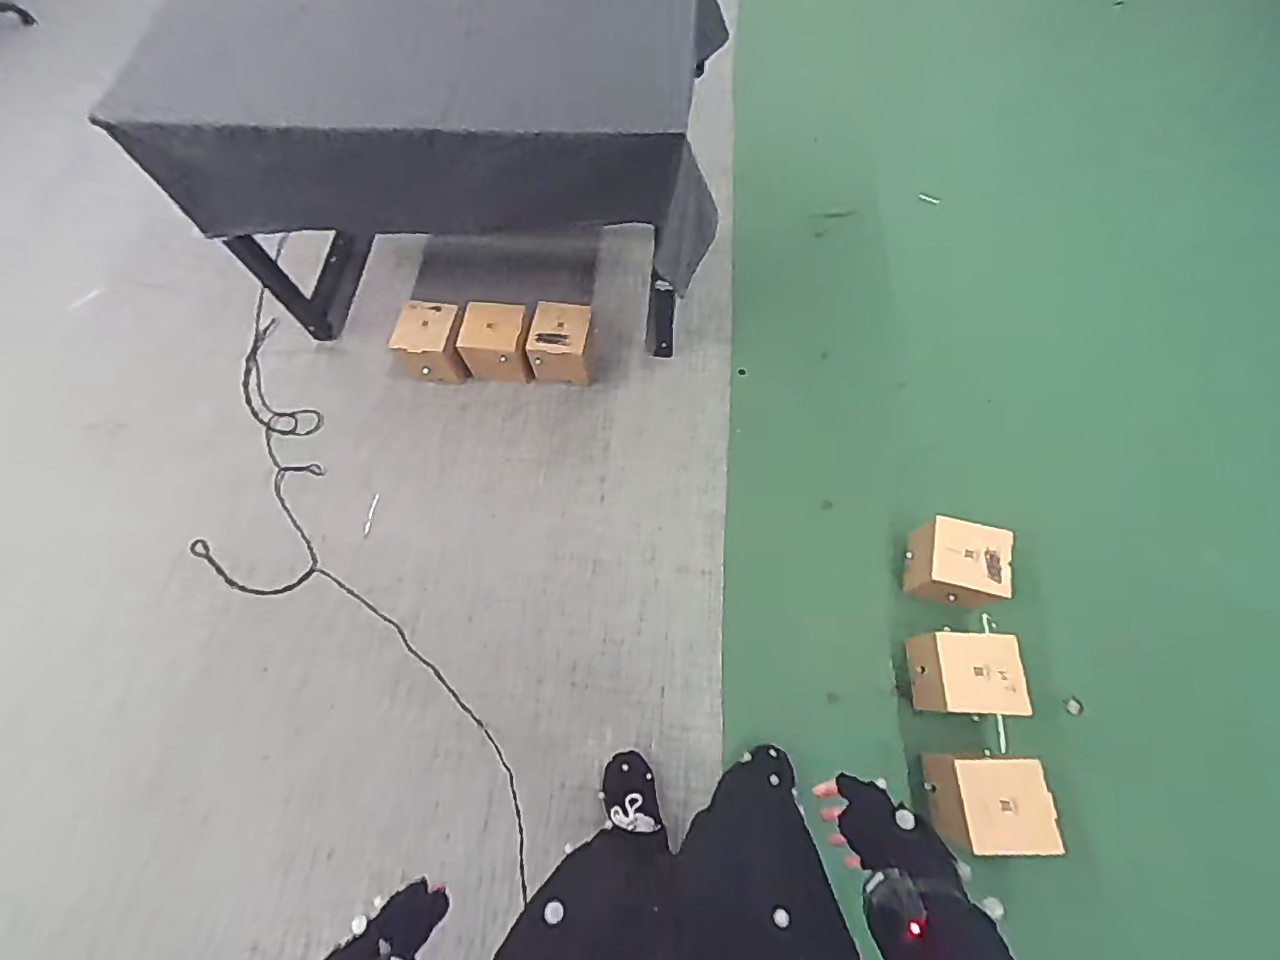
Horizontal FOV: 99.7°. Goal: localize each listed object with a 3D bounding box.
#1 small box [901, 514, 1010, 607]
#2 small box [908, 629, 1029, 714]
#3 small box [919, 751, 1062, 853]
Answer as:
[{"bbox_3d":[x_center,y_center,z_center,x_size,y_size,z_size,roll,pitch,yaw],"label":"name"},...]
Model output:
[{"bbox_3d":[0.773,0.205,1.333,0.179,0.176,0.168,13,67,9],"label":"small box"},{"bbox_3d":[0.733,0.440,1.234,0.179,0.176,0.168,2,68,3],"label":"small box"},{"bbox_3d":[0.724,0.669,1.140,0.179,0.176,0.168,-1,67,1],"label":"small box"}]
